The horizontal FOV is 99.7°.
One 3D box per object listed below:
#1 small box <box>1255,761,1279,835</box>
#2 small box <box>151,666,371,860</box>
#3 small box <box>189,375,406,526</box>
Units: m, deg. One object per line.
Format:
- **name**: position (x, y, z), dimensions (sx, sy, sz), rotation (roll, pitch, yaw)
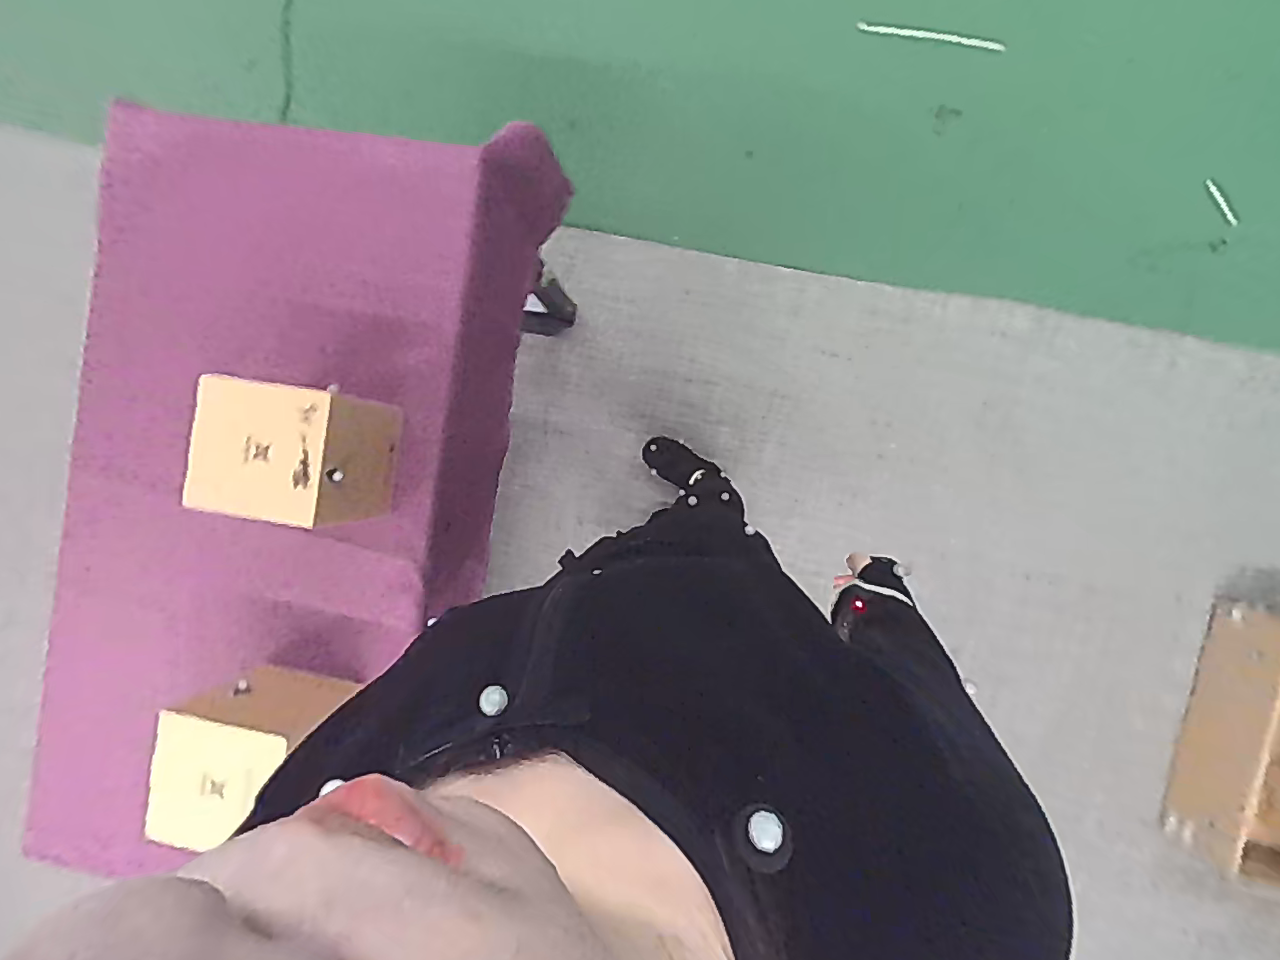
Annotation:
- **small box**: position (1.596, 0.777, 1.240), dimensions (0.179, 0.176, 0.168), rotation (12, 92, 6)
- **small box**: position (-0.515, 0.377, 0.755), dimensions (0.179, 0.176, 0.168), rotation (10, 93, 5)
- **small box**: position (-0.455, -0.039, 0.740), dimensions (0.179, 0.176, 0.168), rotation (9, 93, 6)
